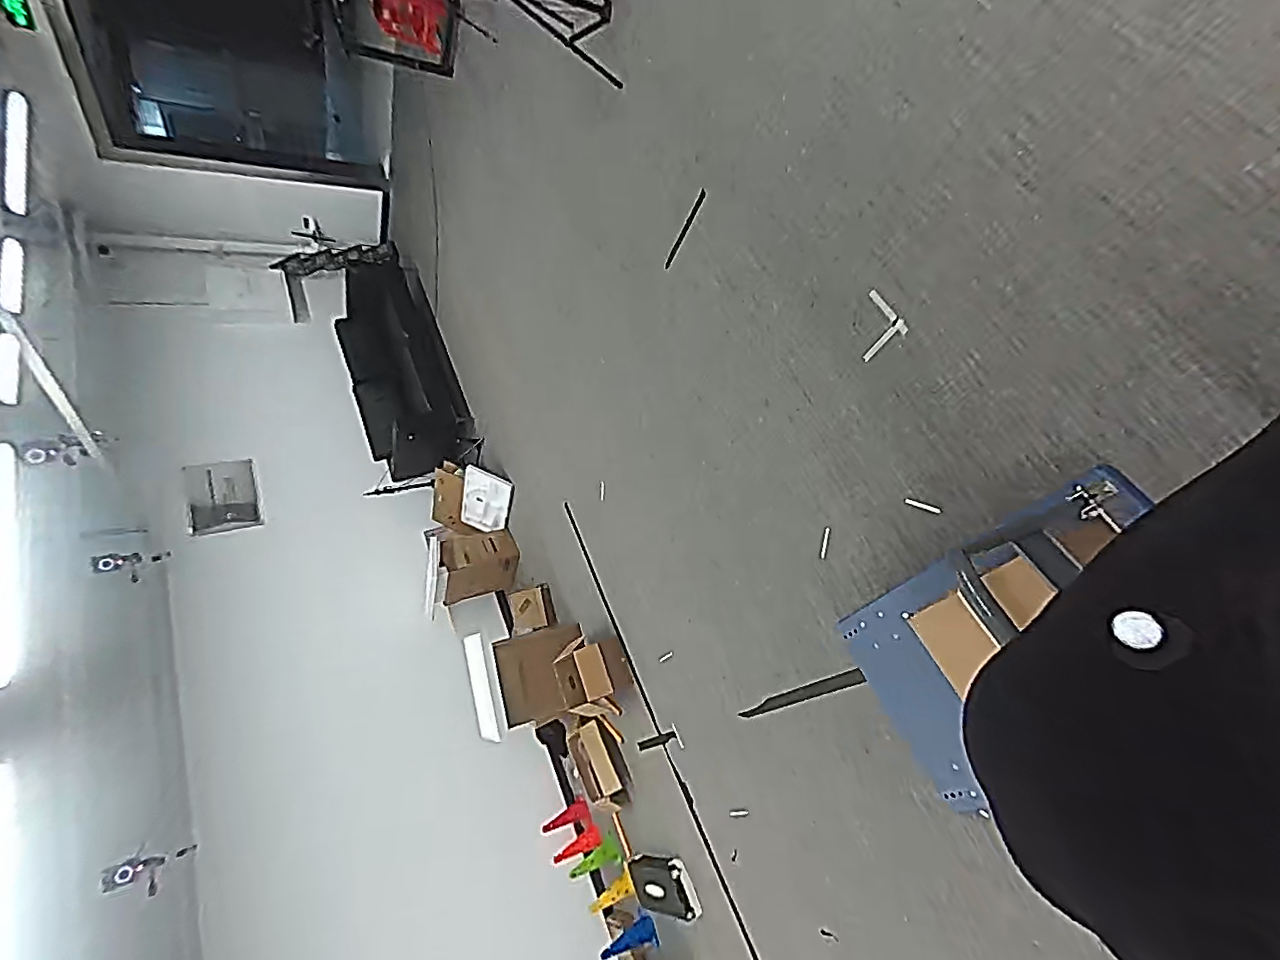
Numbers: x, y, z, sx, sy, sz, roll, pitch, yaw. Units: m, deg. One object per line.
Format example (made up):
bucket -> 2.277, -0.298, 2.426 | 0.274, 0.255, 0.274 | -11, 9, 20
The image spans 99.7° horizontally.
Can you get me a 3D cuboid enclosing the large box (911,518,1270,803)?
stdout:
large box -> 0.854, 0.340, 1.067 | 0.408, 0.320, 0.320 | 63, 144, 26
